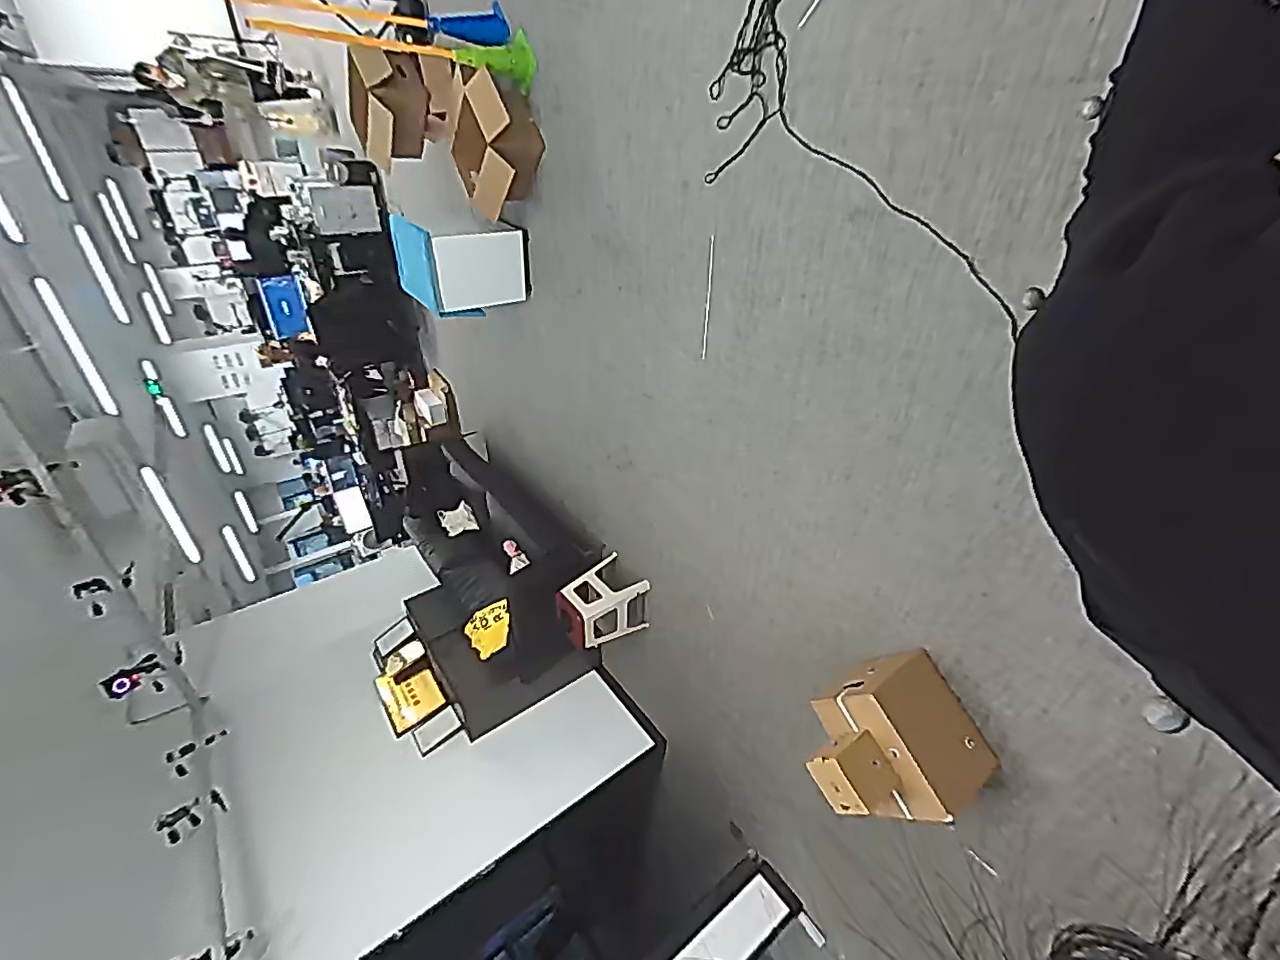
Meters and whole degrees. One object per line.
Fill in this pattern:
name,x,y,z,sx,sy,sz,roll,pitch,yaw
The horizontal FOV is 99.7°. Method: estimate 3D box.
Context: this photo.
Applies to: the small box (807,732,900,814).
small box,0.677,0.924,1.716,0.179,0.176,0.168,58,149,18
